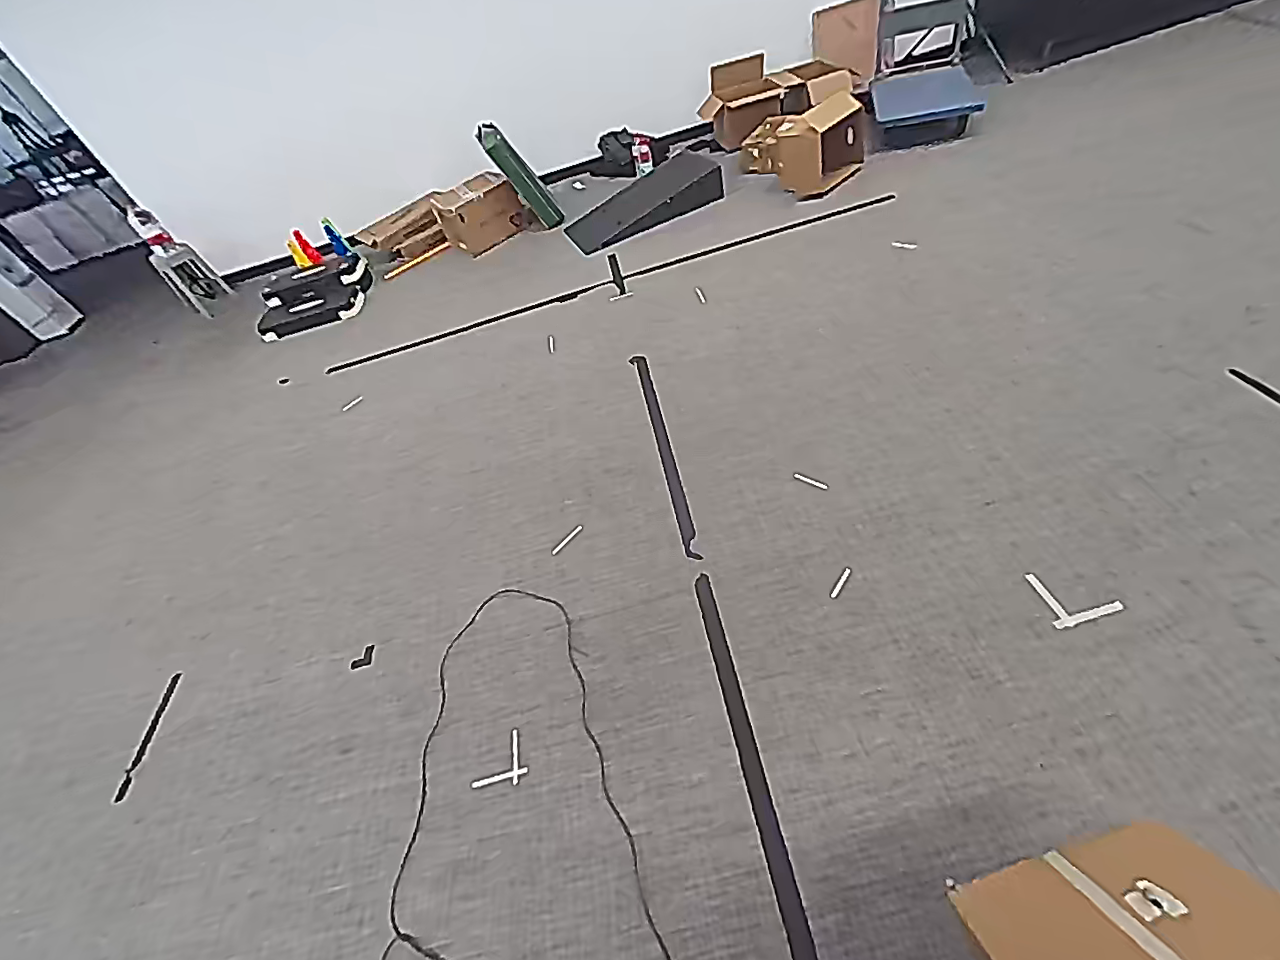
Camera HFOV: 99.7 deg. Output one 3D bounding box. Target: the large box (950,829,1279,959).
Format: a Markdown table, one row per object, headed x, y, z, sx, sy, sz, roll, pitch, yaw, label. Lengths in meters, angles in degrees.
| x | y | z | sx | sy | sz | roll | pitch | yaw | label |
| --- | --- | --- | --- | --- | --- | --- | --- | --- | --- |
| 0.630 | 0.671 | 0.568 | 0.320 | 0.408 | 0.320 | -21 | 81 | 3 | large box |
